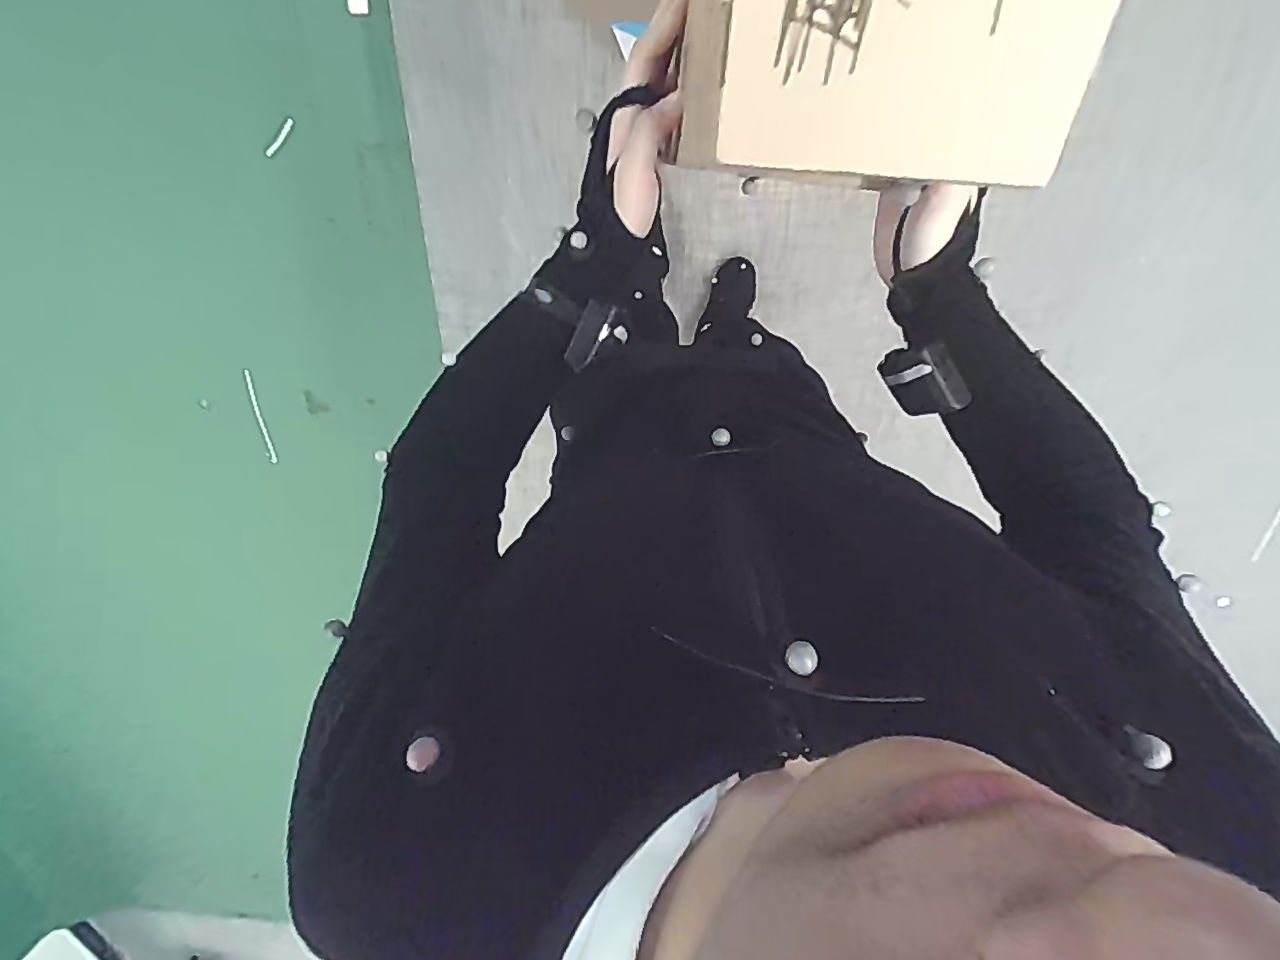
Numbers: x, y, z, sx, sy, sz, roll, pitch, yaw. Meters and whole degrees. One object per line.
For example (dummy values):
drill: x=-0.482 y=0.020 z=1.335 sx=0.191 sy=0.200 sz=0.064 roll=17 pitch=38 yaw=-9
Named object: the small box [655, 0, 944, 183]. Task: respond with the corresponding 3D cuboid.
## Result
small box: x=0.112 y=-0.347 z=0.436 sx=0.179 sy=0.176 sz=0.168 roll=4 pitch=120 yaw=-4
